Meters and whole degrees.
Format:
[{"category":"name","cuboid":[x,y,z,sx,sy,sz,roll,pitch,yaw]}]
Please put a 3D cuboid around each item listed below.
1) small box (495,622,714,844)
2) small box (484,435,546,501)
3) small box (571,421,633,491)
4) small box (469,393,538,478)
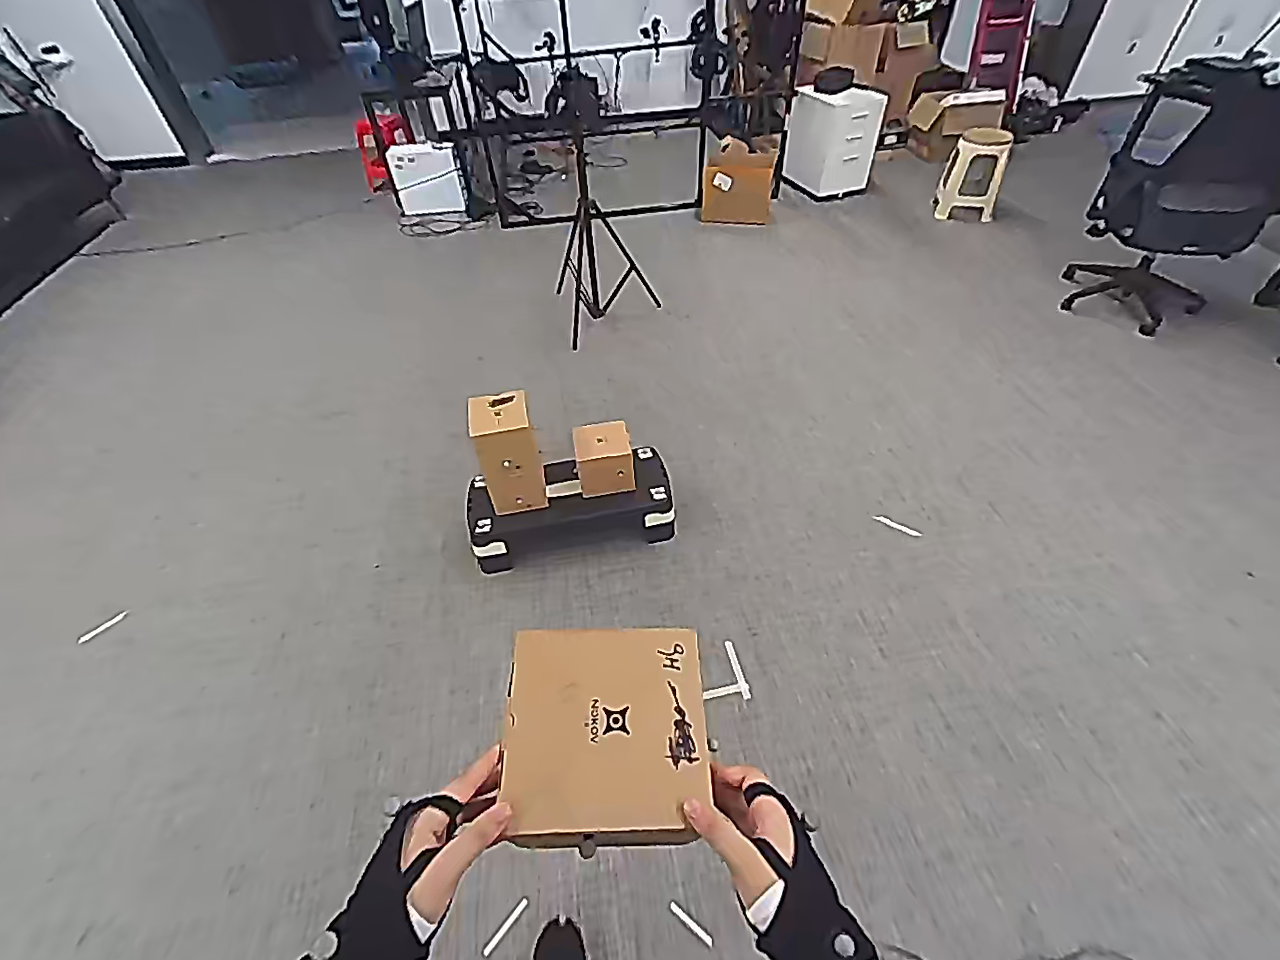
[{"category":"small box","cuboid":[-0.030,0.253,0.533,0.179,0.176,0.168,0,52,-2]},{"category":"small box","cuboid":[-0.394,-0.015,1.717,0.168,0.176,0.179,-10,47,-7]},{"category":"small box","cuboid":[-0.119,-0.064,1.753,0.179,0.176,0.168,-11,47,-4]},{"category":"small box","cuboid":[-0.403,-0.132,1.602,0.168,0.176,0.179,-11,47,-8]}]
